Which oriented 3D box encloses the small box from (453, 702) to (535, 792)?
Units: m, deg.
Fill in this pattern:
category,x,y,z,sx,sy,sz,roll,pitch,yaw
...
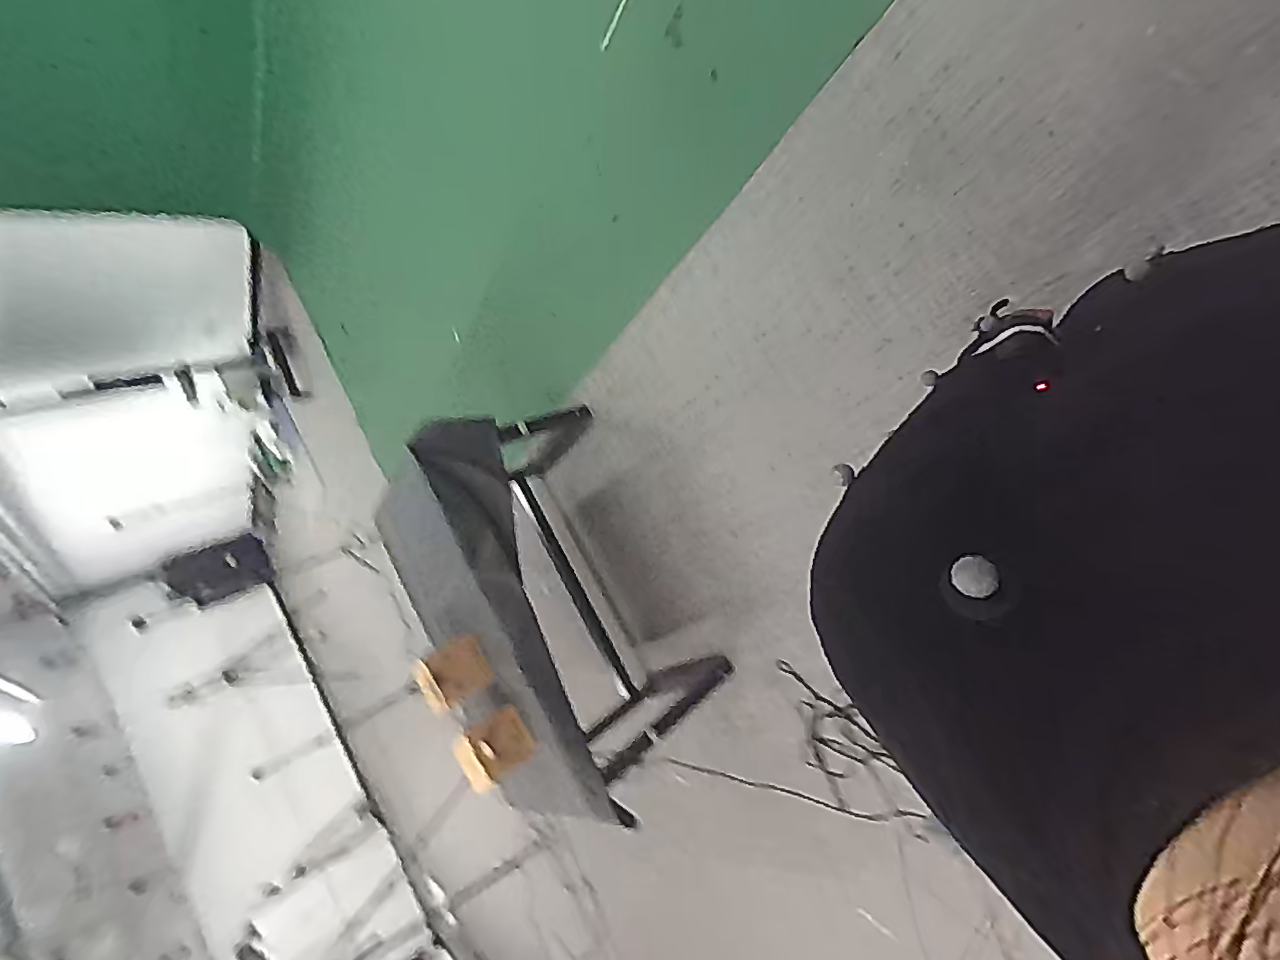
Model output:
category,x,y,z,sx,sy,sz,roll,pitch,yaw
small box,-0.445,0.814,1.655,0.168,0.176,0.179,53,136,16
